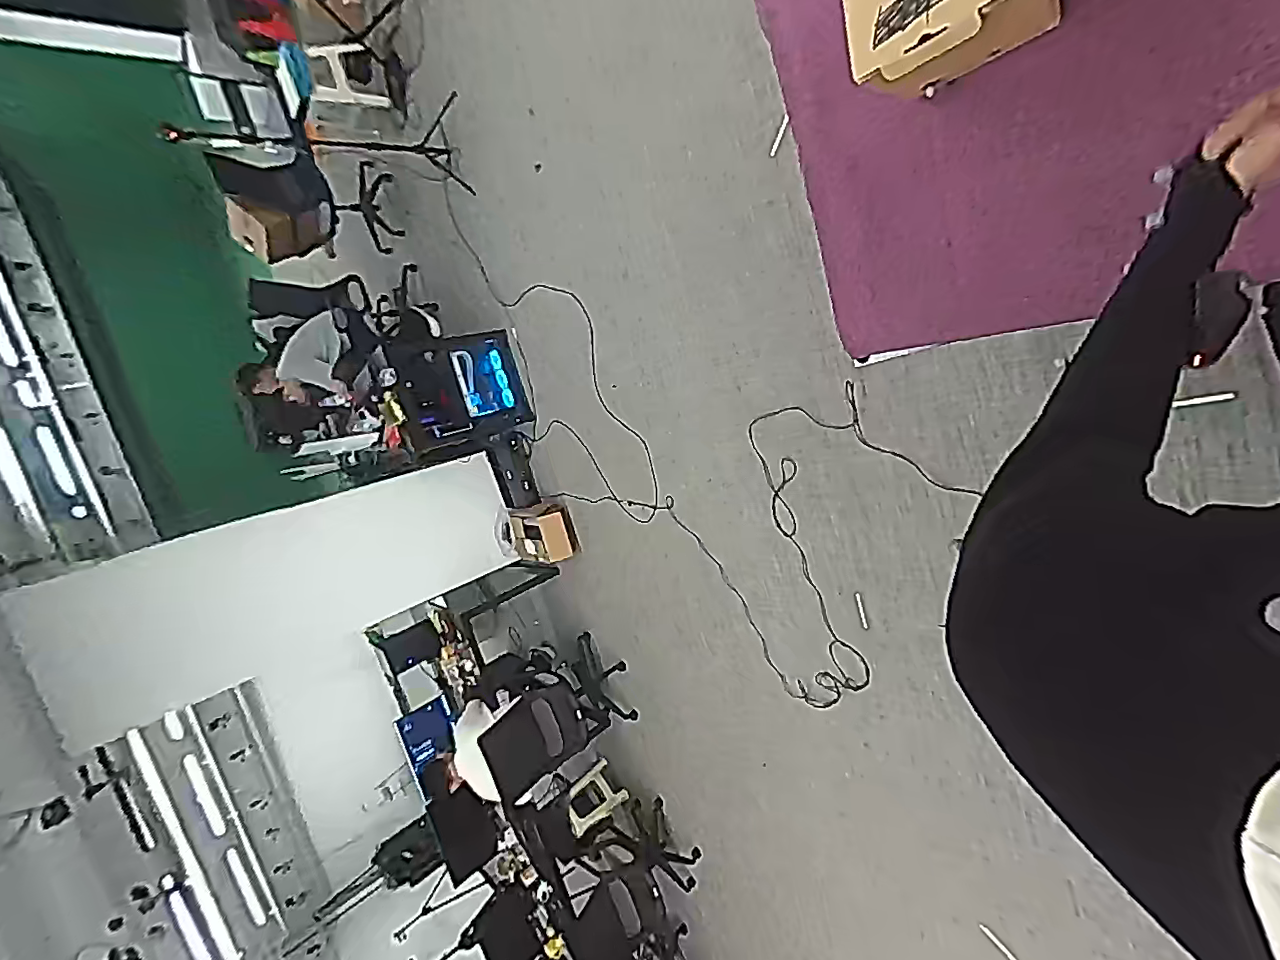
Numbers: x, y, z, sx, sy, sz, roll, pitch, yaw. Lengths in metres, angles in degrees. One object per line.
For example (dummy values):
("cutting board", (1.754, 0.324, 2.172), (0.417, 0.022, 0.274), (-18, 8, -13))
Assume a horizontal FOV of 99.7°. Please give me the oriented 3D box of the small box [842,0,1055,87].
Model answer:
("small box", (0.345, -0.579, 0.611), (0.168, 0.176, 0.179), (1, 109, 50))
